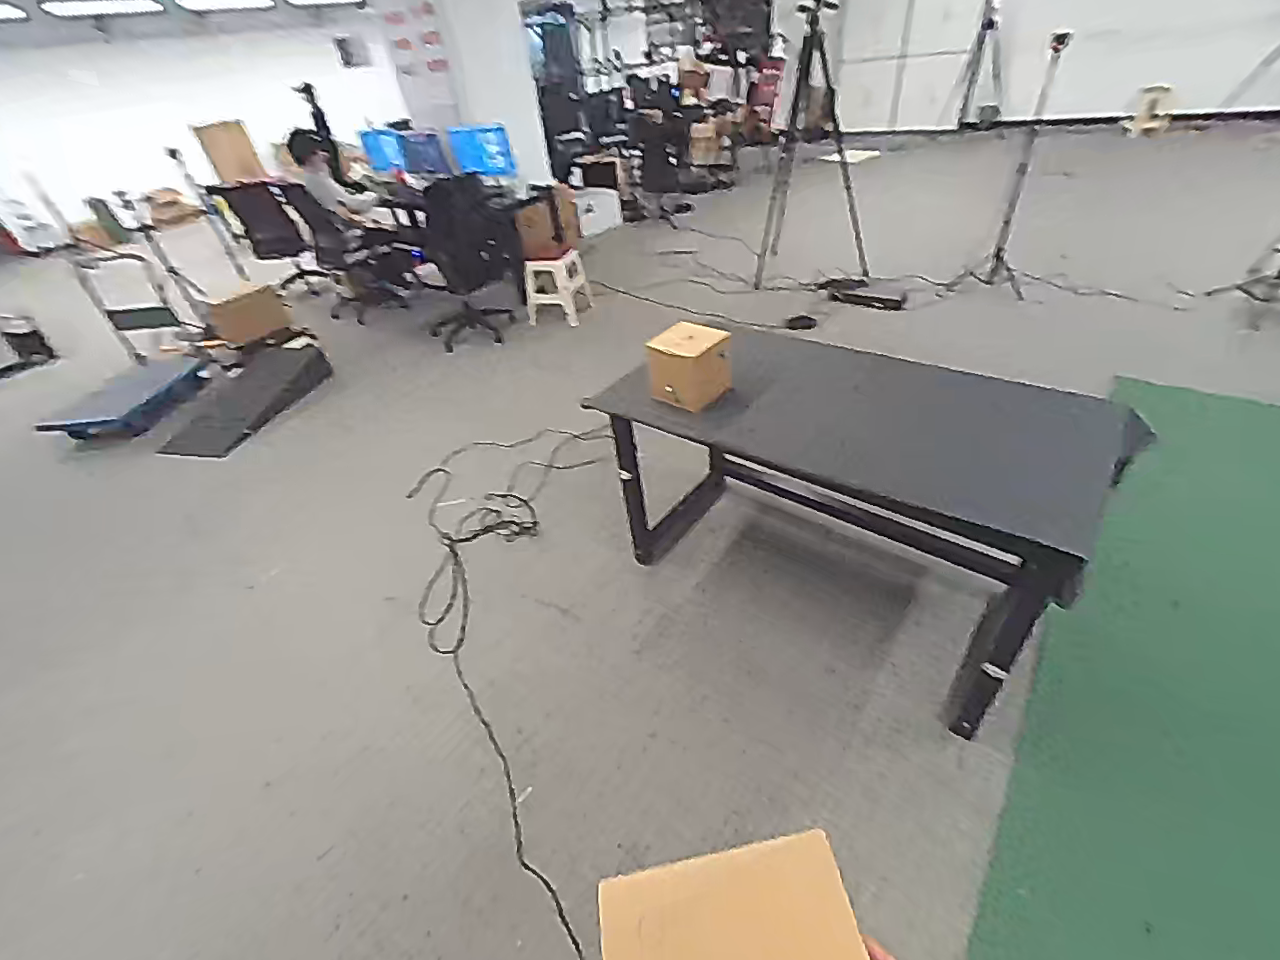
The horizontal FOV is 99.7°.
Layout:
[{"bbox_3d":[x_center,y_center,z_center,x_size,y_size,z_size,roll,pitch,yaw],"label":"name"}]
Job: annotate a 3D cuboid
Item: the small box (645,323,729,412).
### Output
[{"bbox_3d":[0.133,-0.317,1.522,0.168,0.176,0.179,25,48,34],"label":"small box"}]
